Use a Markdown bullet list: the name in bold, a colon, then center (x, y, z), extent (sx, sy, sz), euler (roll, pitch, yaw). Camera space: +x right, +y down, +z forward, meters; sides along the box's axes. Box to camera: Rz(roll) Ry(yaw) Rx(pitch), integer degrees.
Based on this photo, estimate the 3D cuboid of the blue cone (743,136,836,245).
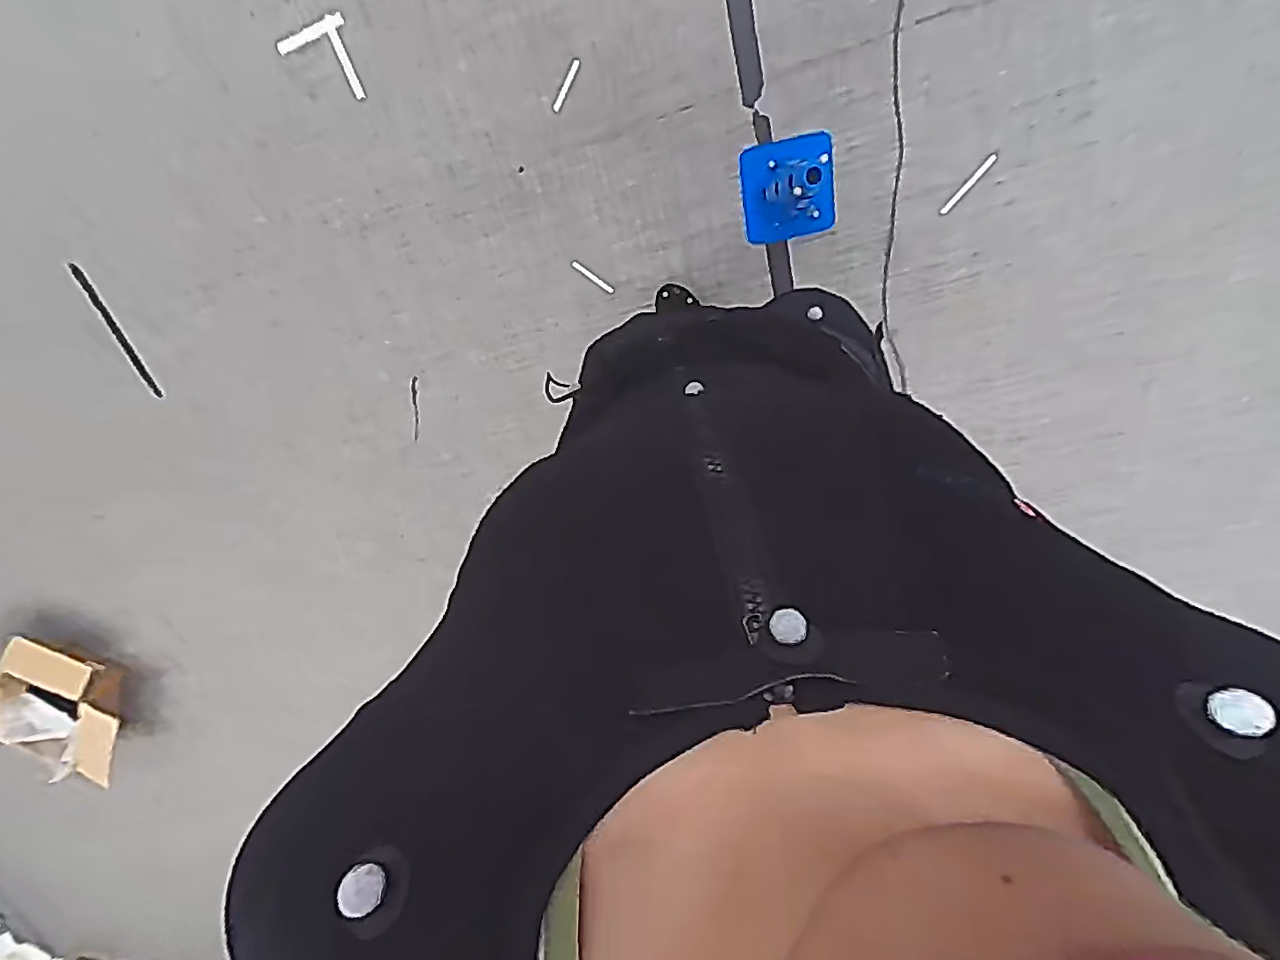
- **blue cone**: center (0.313, -0.572, 1.048), extent (0.193, 0.380, 0.192), euler (-9, 113, 11)
